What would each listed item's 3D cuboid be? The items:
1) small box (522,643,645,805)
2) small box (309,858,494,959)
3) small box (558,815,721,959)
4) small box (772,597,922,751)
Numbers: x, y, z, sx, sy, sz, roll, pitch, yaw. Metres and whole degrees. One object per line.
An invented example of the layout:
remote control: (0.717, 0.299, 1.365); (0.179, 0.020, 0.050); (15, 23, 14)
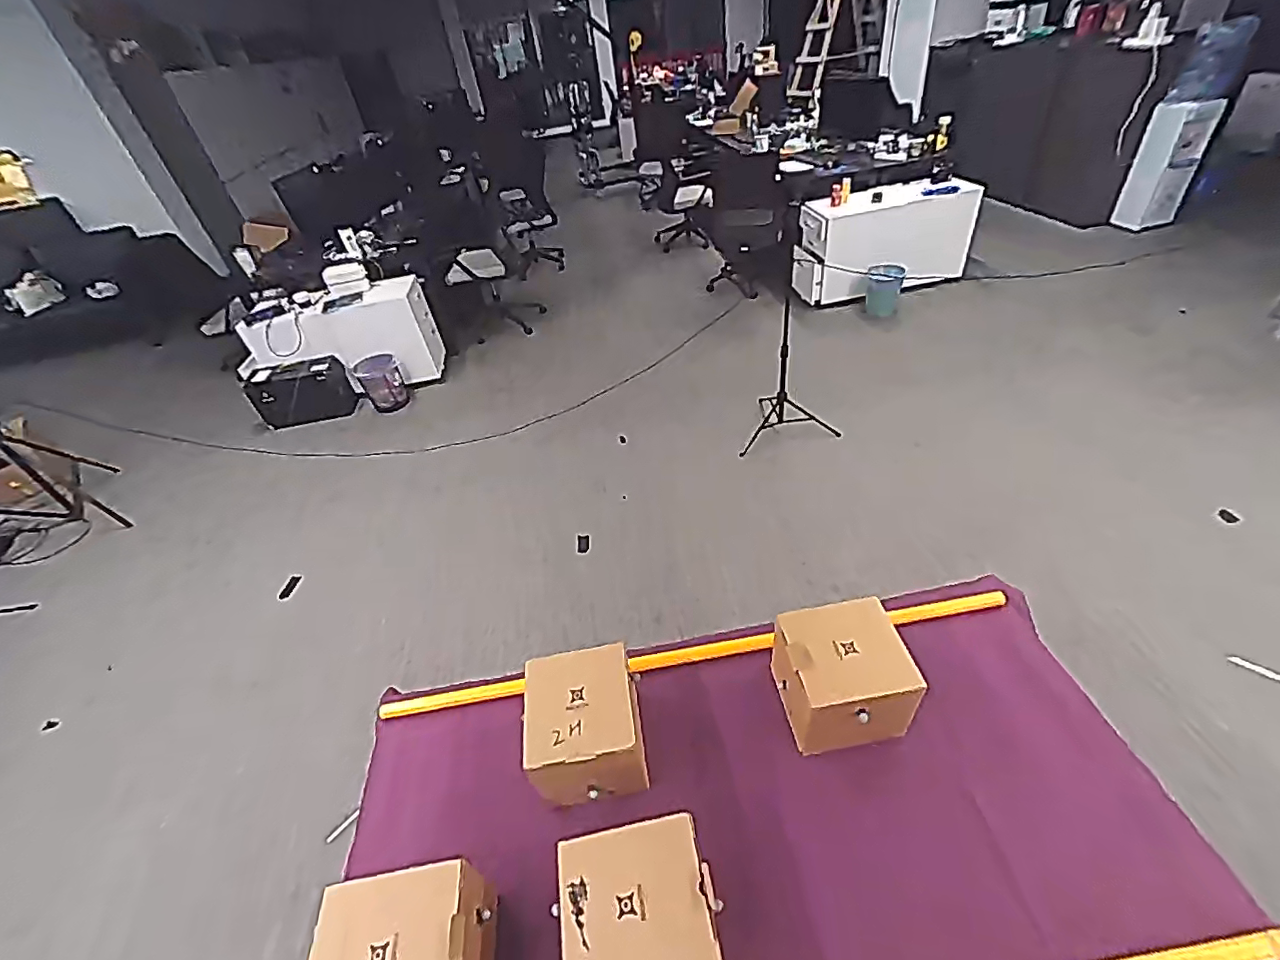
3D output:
small box: (-0.089, 0.398, 0.886); (0.168, 0.176, 0.179); (-11, 42, -1)
small box: (-0.291, 0.607, 0.677); (0.179, 0.176, 0.168); (-10, 39, -3)
small box: (0.000, 0.556, 0.683); (0.179, 0.176, 0.168); (-11, 40, -2)
small box: (0.327, 0.322, 0.894); (0.179, 0.176, 0.168); (-11, 41, -1)
